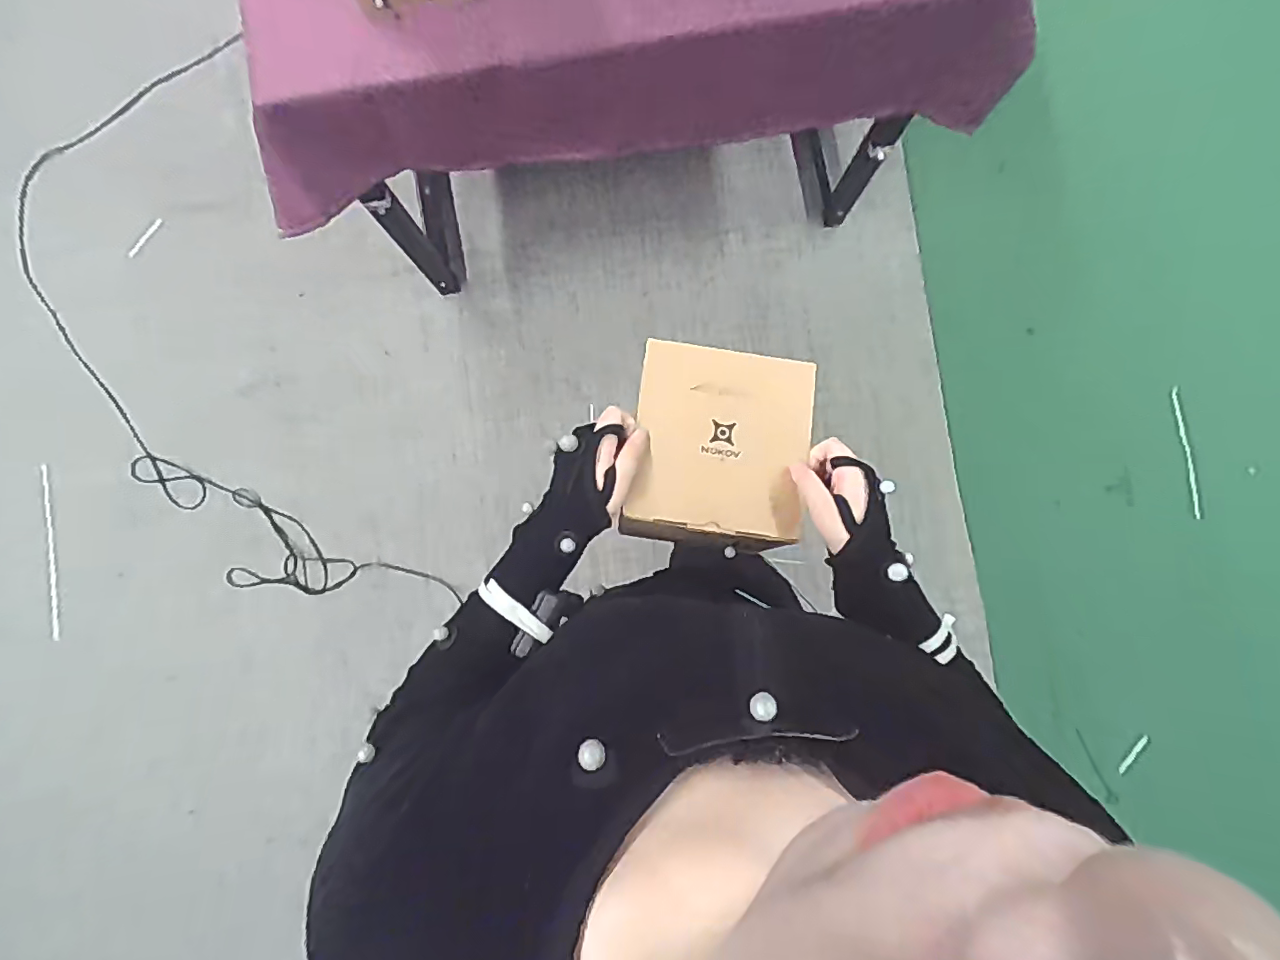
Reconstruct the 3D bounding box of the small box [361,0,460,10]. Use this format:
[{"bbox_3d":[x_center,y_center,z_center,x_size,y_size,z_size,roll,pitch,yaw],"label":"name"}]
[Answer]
[{"bbox_3d":[-0.355,-0.808,0.754,0.168,0.176,0.179,-11,85,-1],"label":"small box"}]
